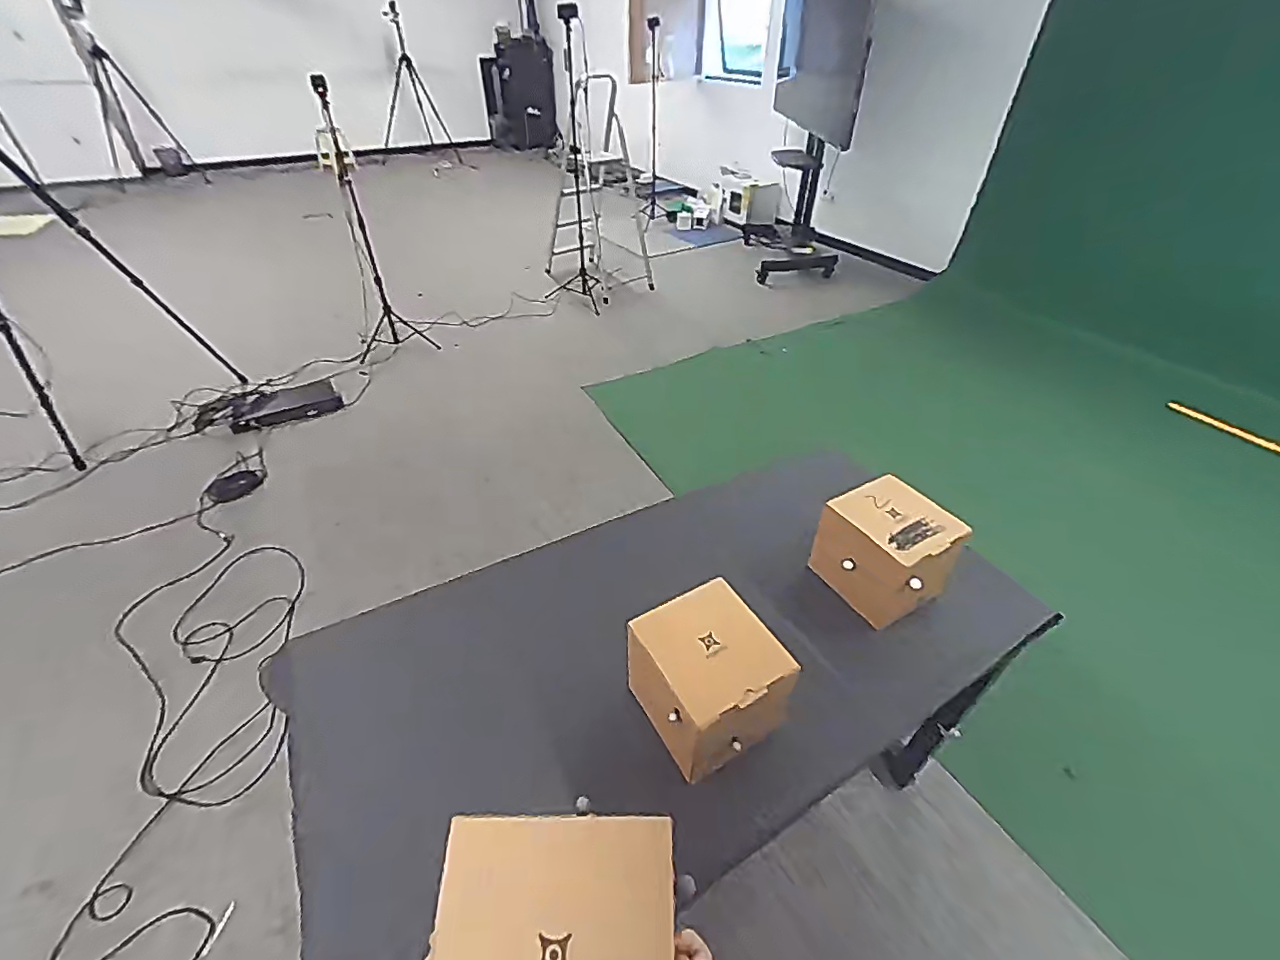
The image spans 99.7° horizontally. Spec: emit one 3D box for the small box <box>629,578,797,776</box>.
[{"bbox_3d":[0.092,0.280,0.780,0.168,0.176,0.179,-20,45,-24],"label":"small box"}]

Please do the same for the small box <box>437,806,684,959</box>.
[{"bbox_3d":[-0.053,0.362,0.422,0.168,0.176,0.179,1,57,1],"label":"small box"}]
